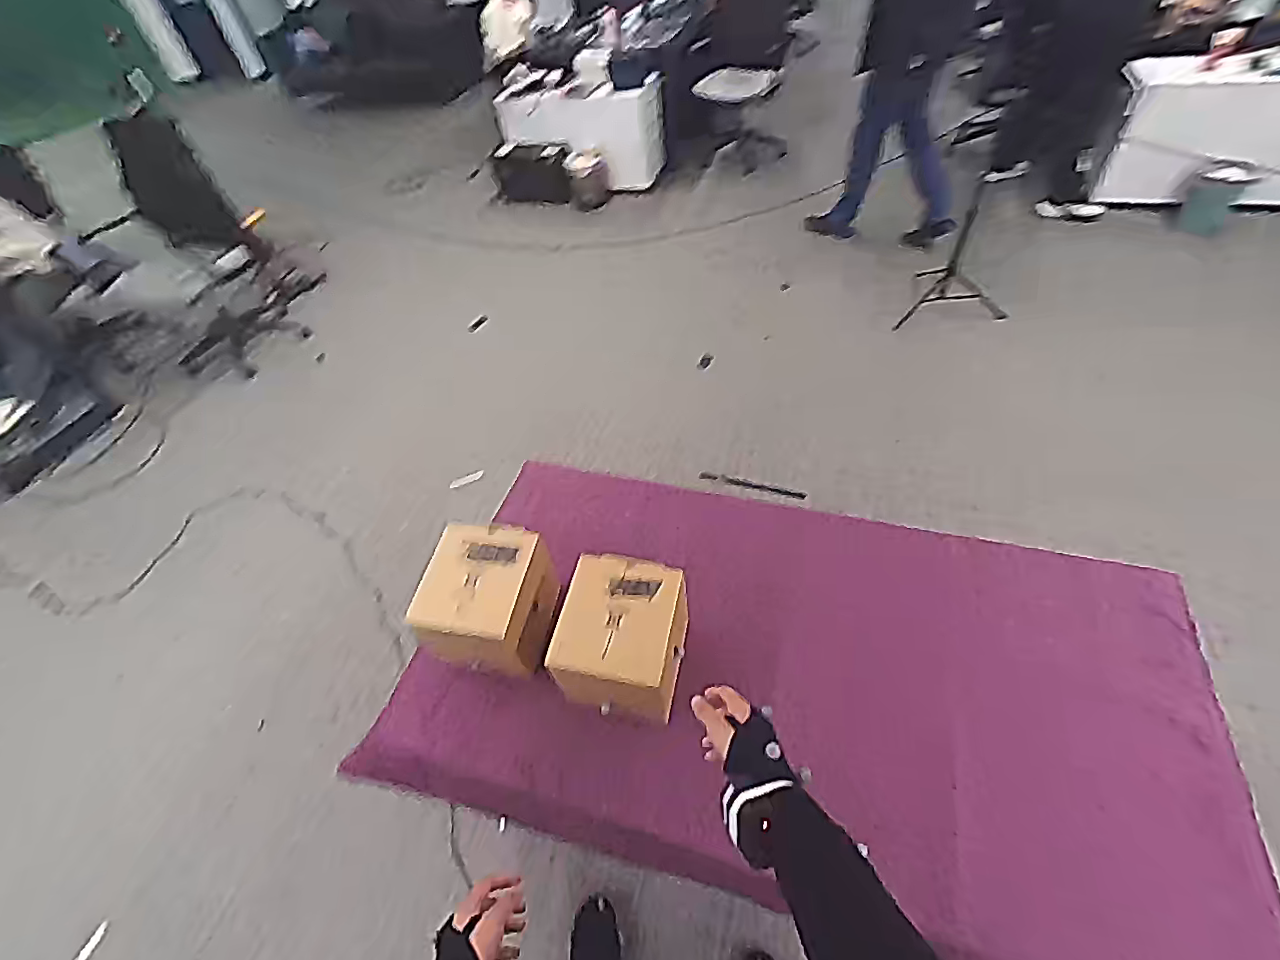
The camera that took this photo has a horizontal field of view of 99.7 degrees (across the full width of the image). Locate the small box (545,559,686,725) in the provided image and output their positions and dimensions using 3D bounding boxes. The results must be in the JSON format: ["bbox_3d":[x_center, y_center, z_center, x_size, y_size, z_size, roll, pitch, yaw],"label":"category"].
[{"bbox_3d":[-0.025,0.248,0.827,0.168,0.176,0.179,7,52,13],"label":"small box"}]
